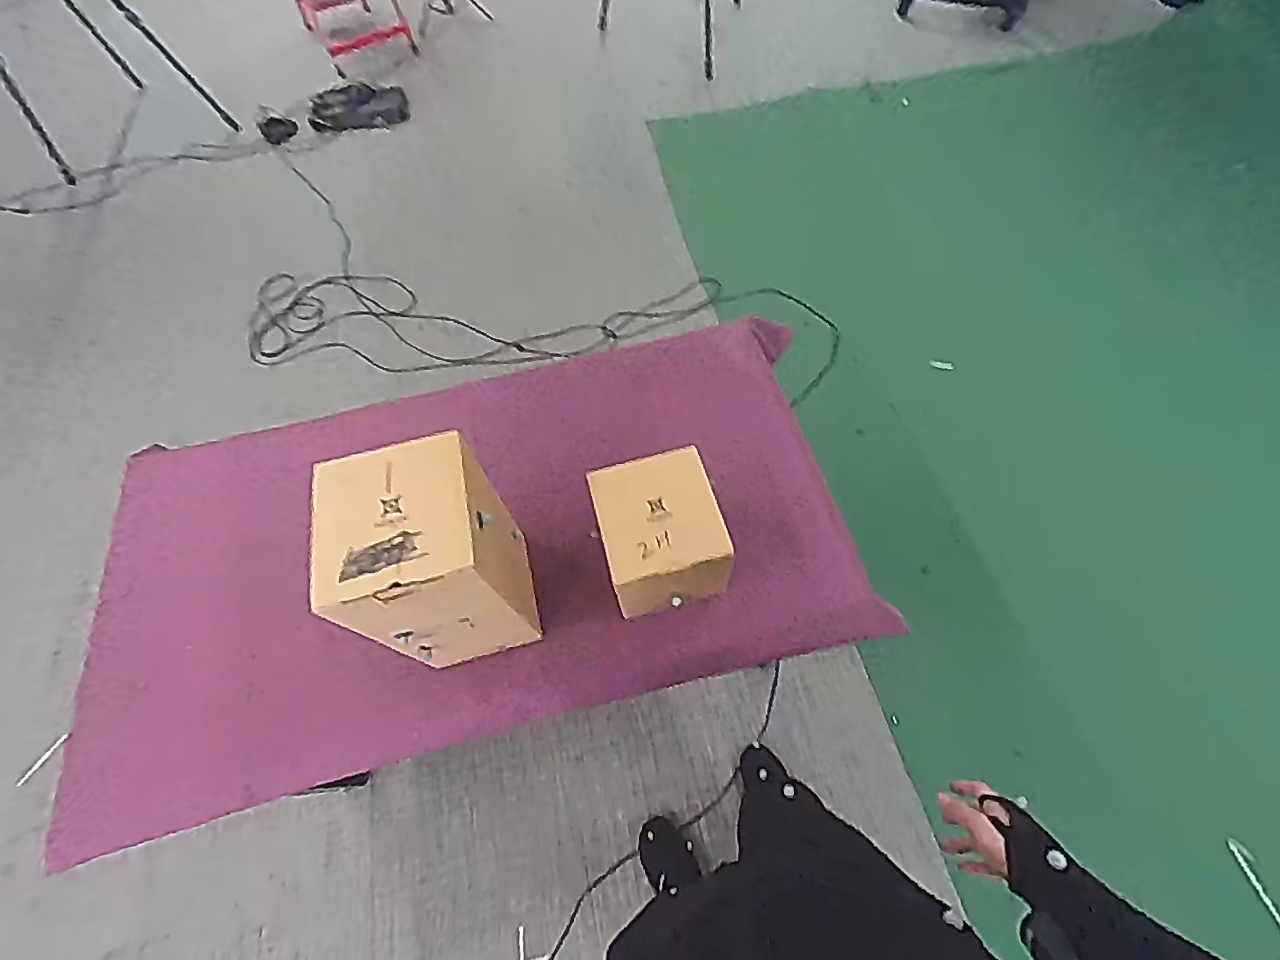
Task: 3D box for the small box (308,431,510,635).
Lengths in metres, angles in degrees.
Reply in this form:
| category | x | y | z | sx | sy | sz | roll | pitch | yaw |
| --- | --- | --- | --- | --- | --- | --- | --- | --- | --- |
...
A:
| category | x | y | z | sx | sy | sz | roll | pitch | yaw |
| --- | --- | --- | --- | --- | --- | --- | --- | --- | --- |
| small box | -0.262 | 0.073 | 0.644 | 0.168 | 0.176 | 0.179 | -14 | 61 | -5 |

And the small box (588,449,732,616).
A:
| category | x | y | z | sx | sy | sz | roll | pitch | yaw |
| --- | --- | --- | --- | --- | --- | --- | --- | --- | --- |
| small box | 0.026 | 0.083 | 0.810 | 0.168 | 0.176 | 0.179 | -14 | 62 | -4 |
